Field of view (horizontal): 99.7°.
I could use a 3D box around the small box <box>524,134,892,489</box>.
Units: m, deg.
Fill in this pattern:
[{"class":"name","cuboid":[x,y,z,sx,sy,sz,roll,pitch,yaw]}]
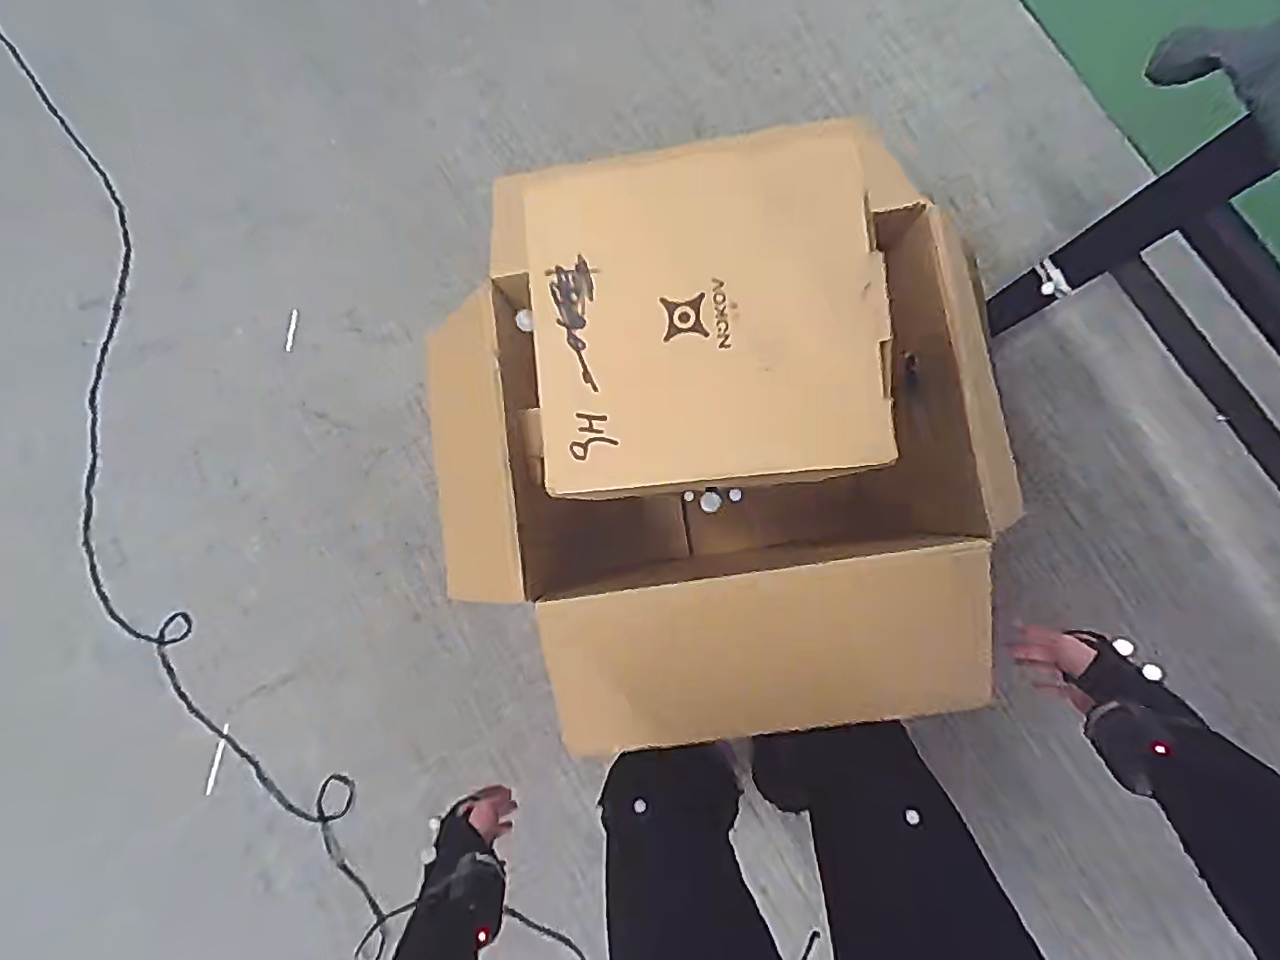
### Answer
[{"class":"small box","cuboid":[0.037,-0.082,0.351,0.179,0.176,0.168,-5,87,5]}]
